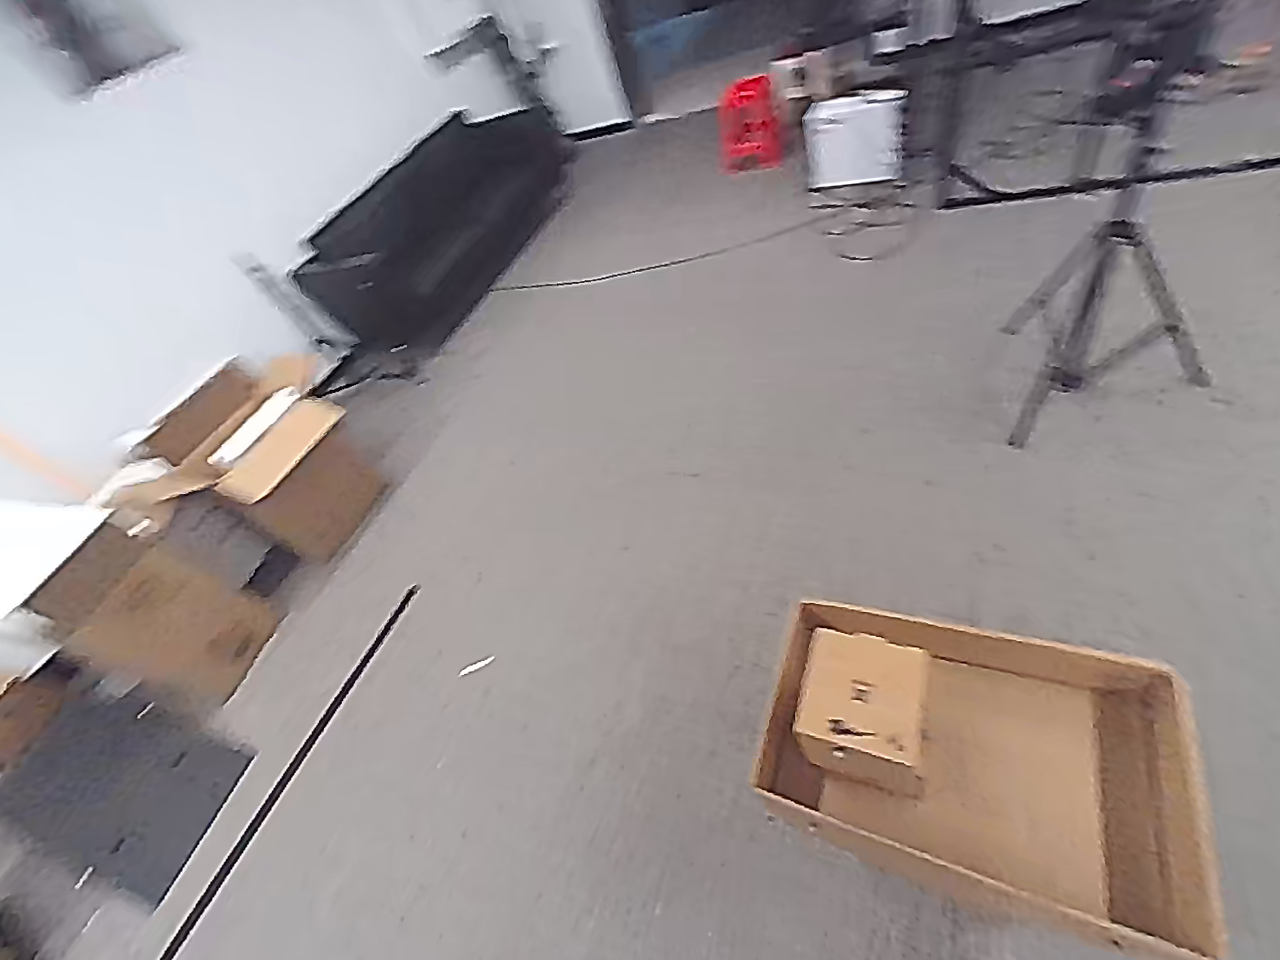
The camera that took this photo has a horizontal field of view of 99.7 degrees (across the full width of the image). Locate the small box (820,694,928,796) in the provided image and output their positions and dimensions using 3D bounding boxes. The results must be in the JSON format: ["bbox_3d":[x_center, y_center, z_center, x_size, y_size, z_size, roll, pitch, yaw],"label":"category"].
[{"bbox_3d":[0.429,0.462,1.000,0.179,0.176,0.168,1,50,27],"label":"small box"}]

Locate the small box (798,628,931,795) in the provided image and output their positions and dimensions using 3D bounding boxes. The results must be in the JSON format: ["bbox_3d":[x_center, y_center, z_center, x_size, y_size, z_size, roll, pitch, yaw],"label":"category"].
[{"bbox_3d":[0.367,0.373,0.877,0.168,0.176,0.179,6,52,30],"label":"small box"}]
